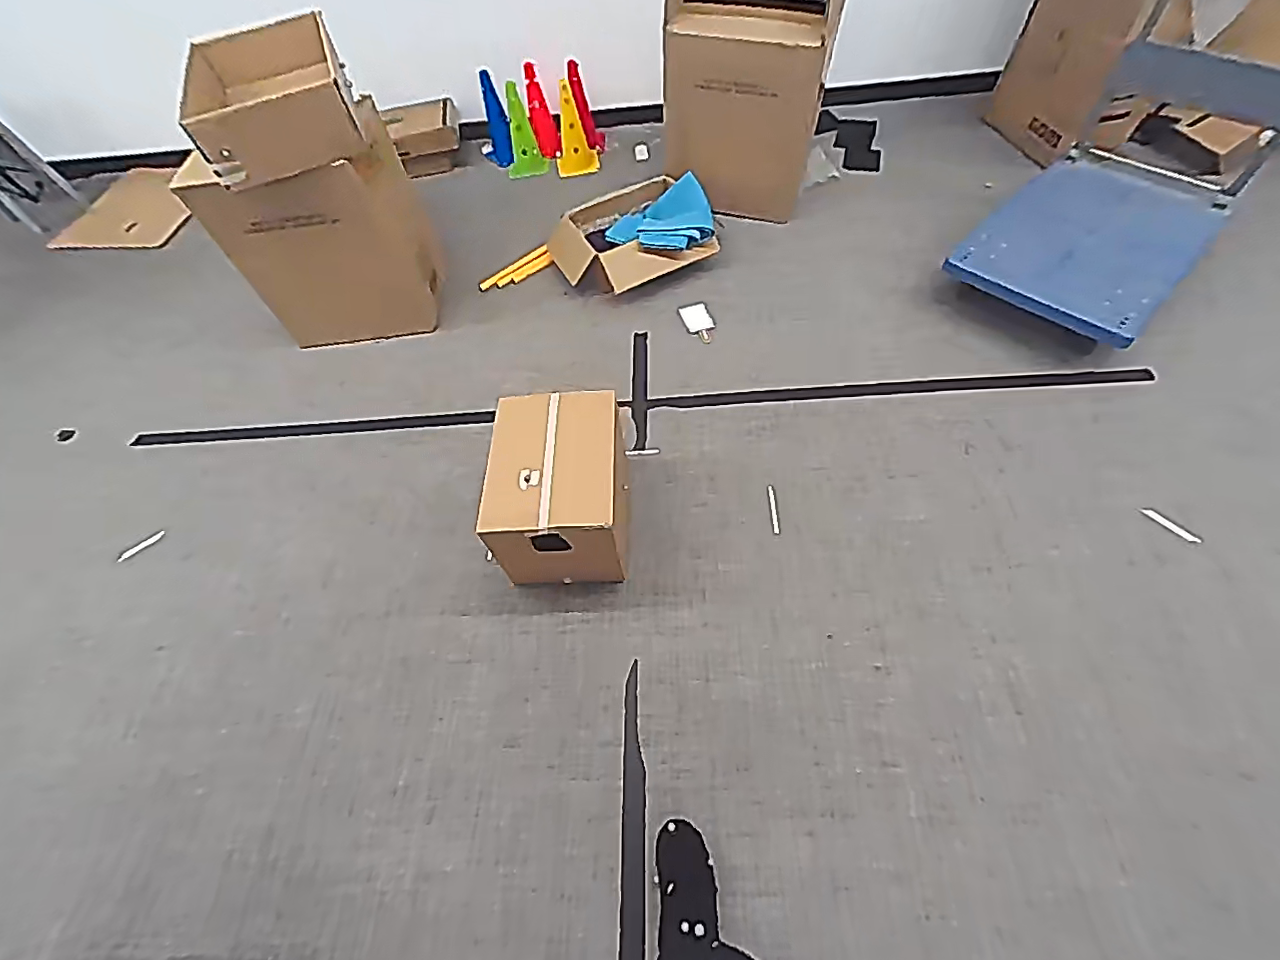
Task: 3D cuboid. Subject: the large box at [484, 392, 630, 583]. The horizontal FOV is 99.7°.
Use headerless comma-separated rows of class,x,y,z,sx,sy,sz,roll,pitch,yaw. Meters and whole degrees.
large box,-0.196,0.026,1.433,0.320,0.320,0.408,-4,58,4
